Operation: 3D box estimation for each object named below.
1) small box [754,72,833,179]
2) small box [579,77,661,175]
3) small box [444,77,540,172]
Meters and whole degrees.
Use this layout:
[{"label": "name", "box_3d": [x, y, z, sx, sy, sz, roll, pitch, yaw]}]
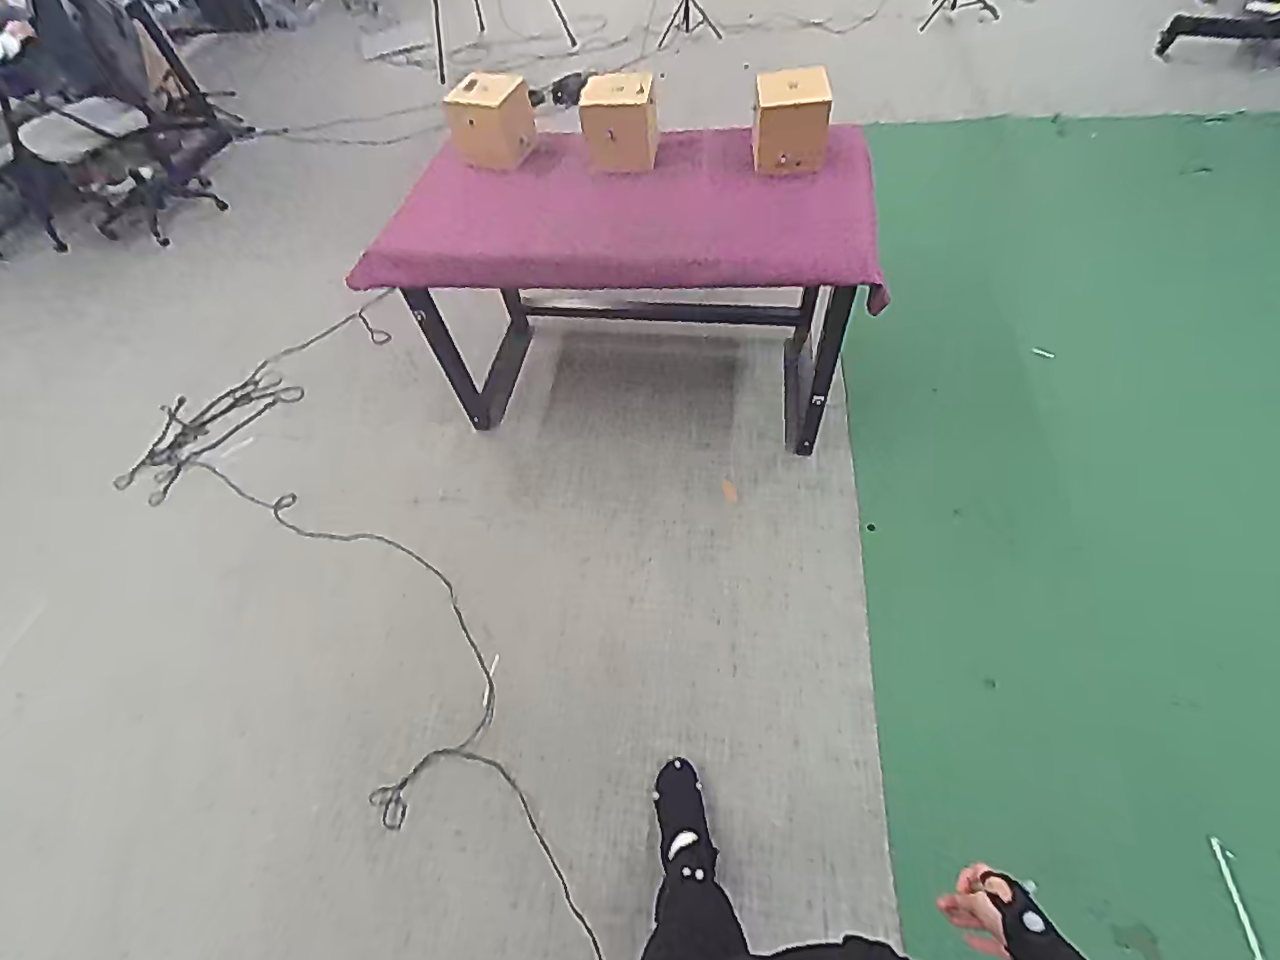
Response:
[{"label": "small box", "box_3d": [0.377, -0.887, 1.358, 0.168, 0.176, 0.179, -1, 58, 8]}, {"label": "small box", "box_3d": [-0.046, -0.935, 1.436, 0.179, 0.176, 0.168, 4, 59, 9]}, {"label": "small box", "box_3d": [-0.405, -0.990, 1.509, 0.179, 0.176, 0.168, 16, 61, 14]}]
